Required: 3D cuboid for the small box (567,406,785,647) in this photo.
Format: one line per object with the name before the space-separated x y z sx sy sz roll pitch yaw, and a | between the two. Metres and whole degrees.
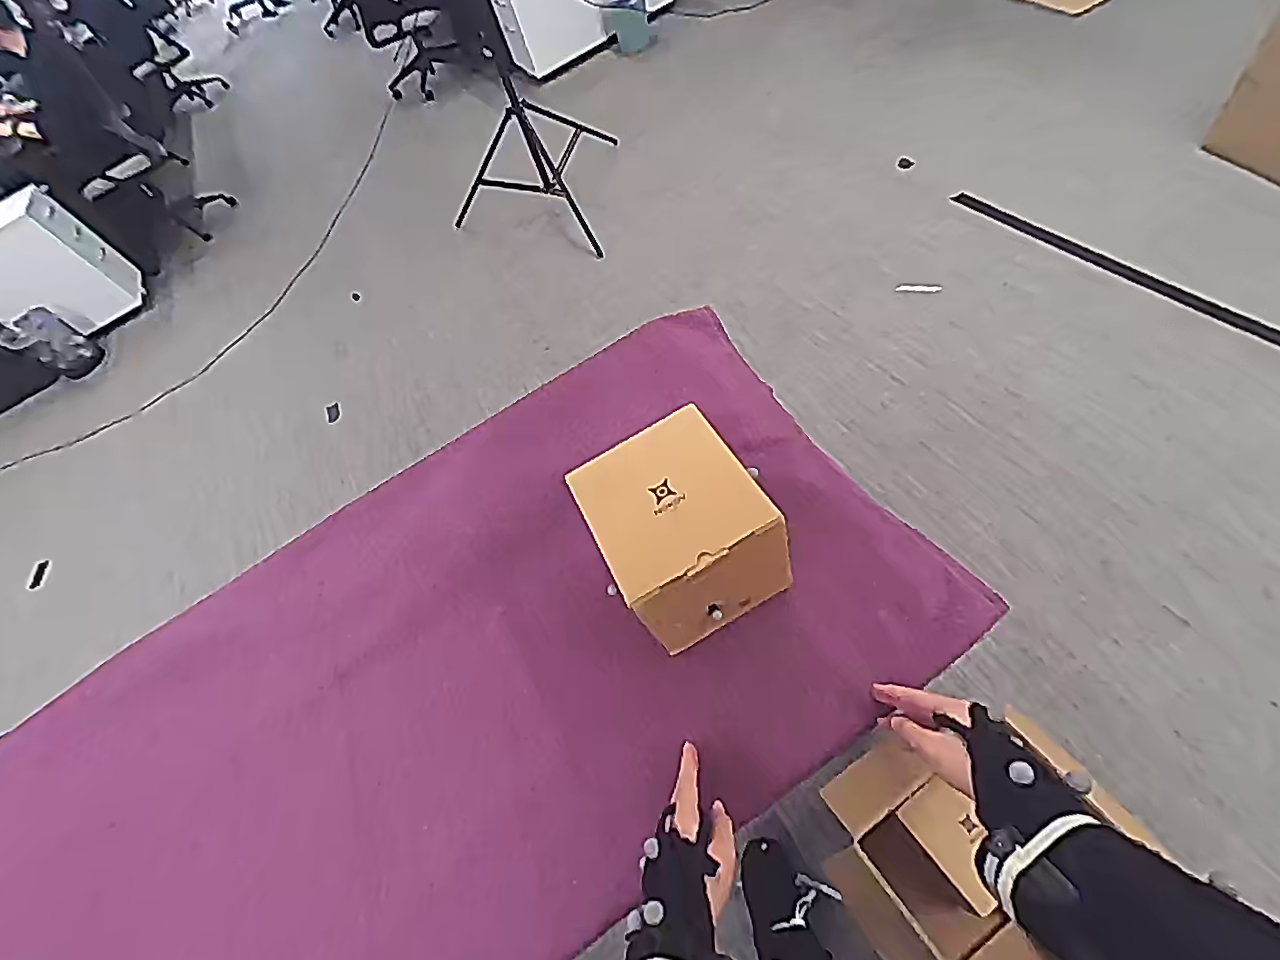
small box | 0.045 0.057 0.609 0.168 0.176 0.179 -31 54 -2
